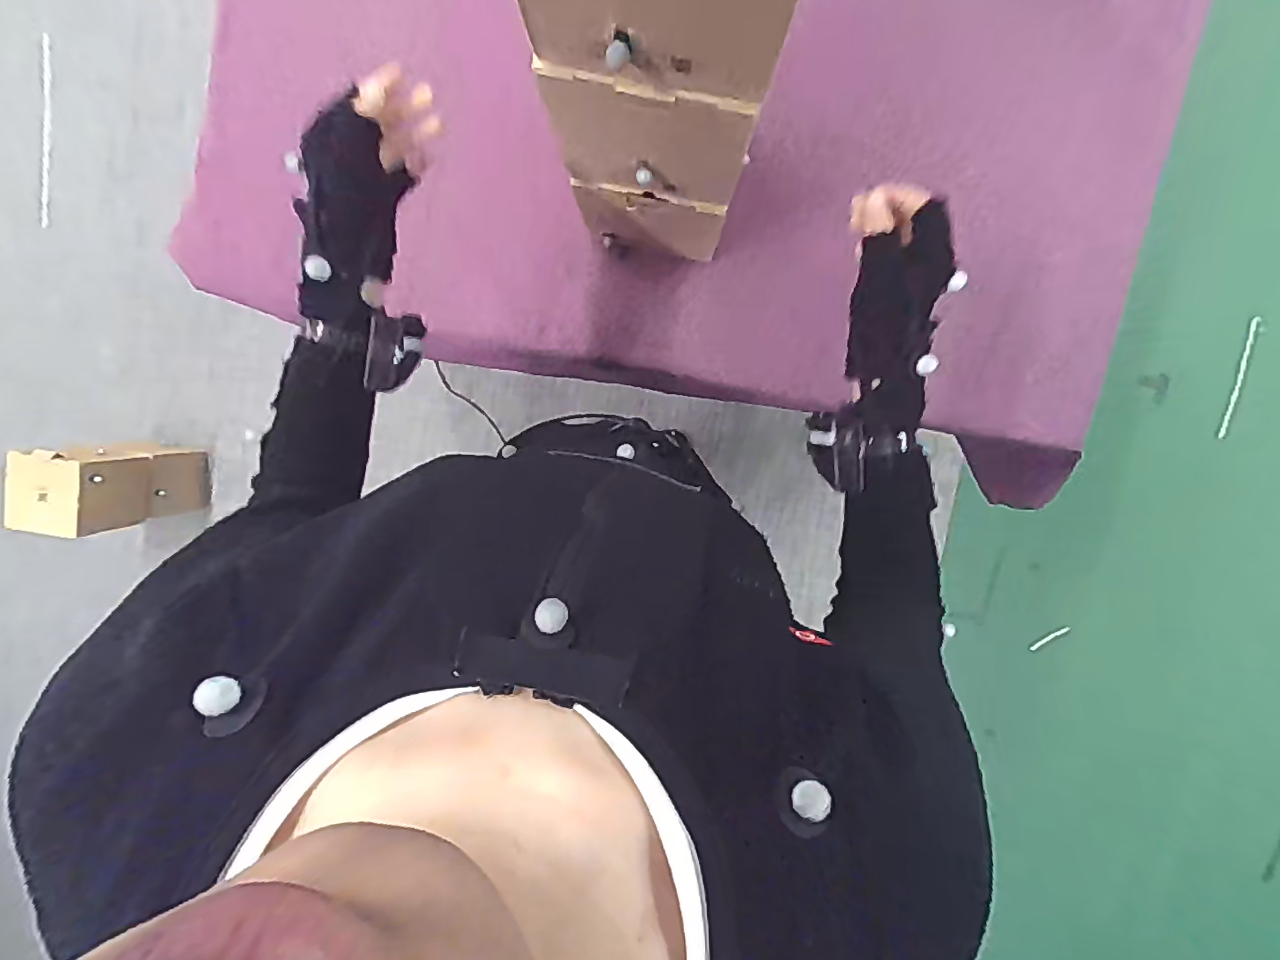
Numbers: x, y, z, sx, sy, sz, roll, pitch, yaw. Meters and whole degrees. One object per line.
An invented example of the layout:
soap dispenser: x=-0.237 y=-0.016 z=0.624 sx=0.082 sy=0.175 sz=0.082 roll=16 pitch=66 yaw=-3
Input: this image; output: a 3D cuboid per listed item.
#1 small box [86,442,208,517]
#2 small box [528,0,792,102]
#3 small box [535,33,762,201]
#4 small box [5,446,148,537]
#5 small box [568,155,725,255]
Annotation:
small box: x=-1.297 y=-0.008 z=1.424 sx=0.179 sy=0.176 sz=0.168 roll=8 pitch=97 yaw=1
small box: x=0.019 y=-0.358 z=0.295 sx=0.168 sy=0.176 sz=0.179 roll=11 pitch=96 yaw=1
small box: x=0.022 y=-0.371 z=0.457 sx=0.168 sy=0.176 sz=0.179 roll=11 pitch=96 yaw=1
small box: x=-1.305 y=0.021 z=1.263 sx=0.168 sy=0.176 sz=0.179 roll=8 pitch=96 yaw=0
small box: x=0.025 y=-0.380 z=0.621 sx=0.168 sy=0.176 sz=0.179 roll=12 pitch=96 yaw=0
